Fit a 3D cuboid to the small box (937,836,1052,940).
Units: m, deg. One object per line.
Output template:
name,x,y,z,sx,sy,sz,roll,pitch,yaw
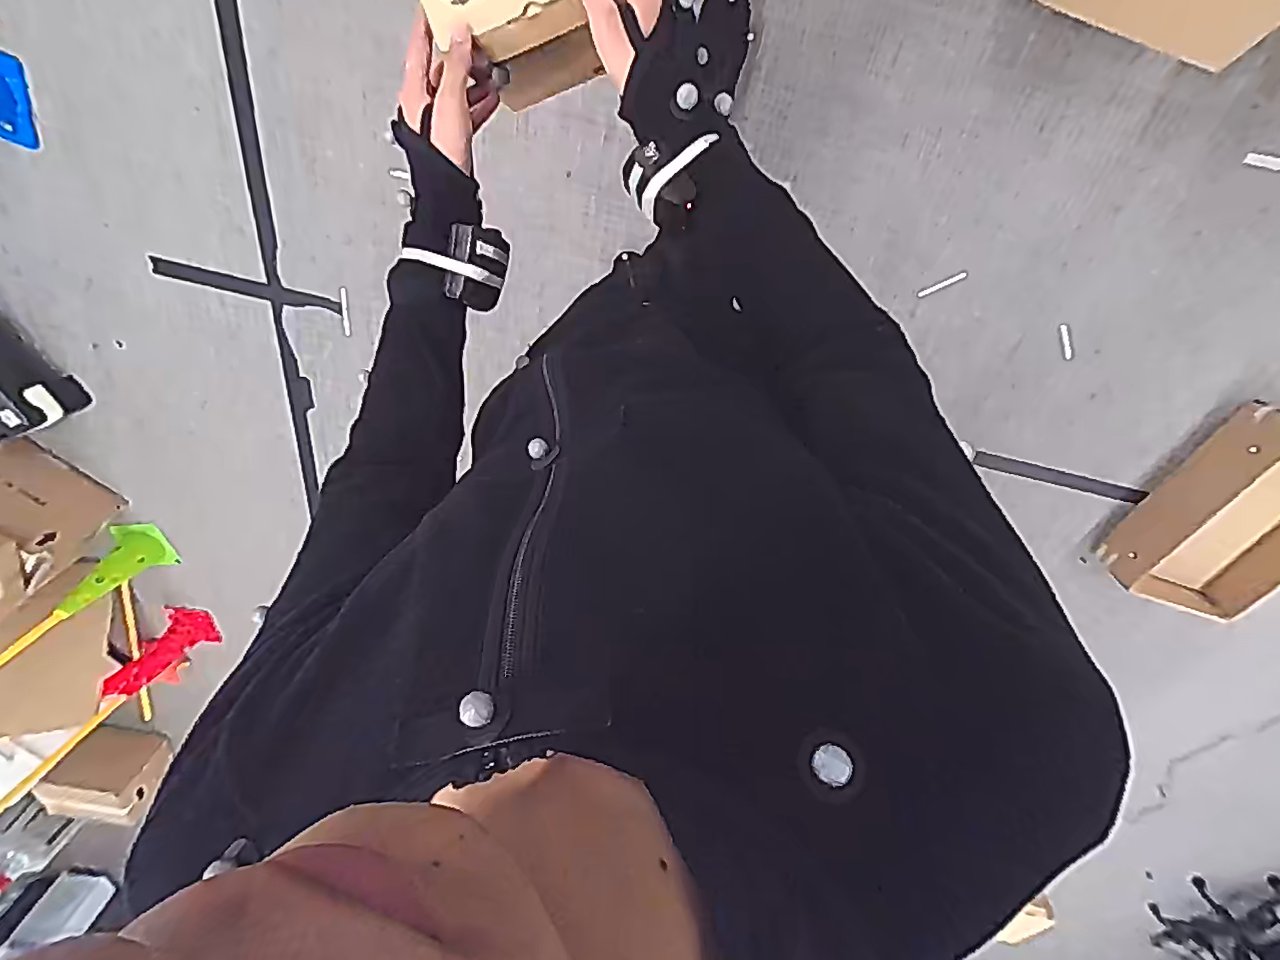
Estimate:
small box,0.945,1.100,1.464,0.168,0.176,0.179,16,123,-5
